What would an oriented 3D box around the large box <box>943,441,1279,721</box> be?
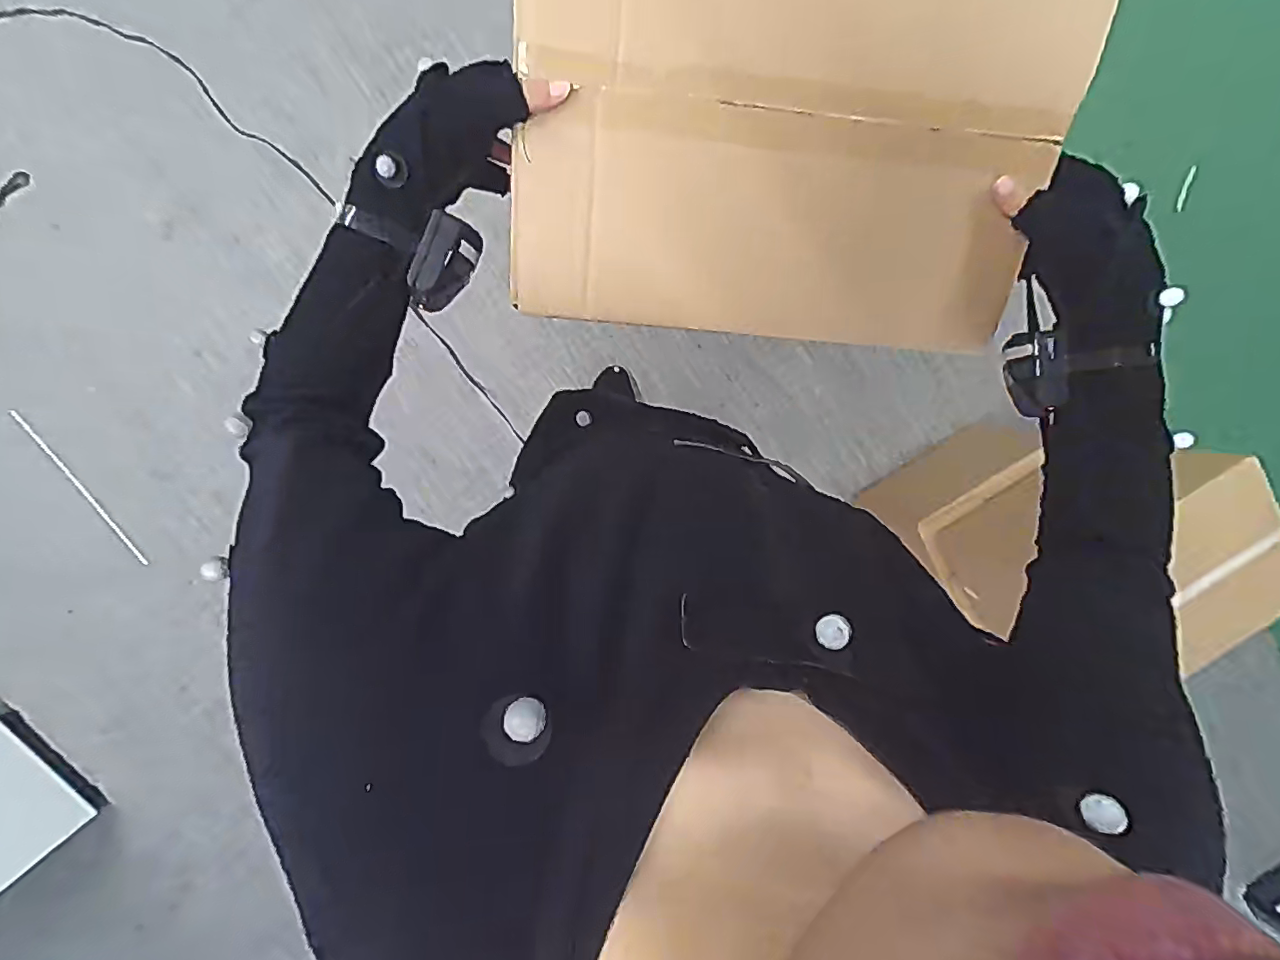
[{"bbox_3d":[0.918,0.170,1.070,0.408,0.320,0.320,-33,101,1],"label":"large box"}]
